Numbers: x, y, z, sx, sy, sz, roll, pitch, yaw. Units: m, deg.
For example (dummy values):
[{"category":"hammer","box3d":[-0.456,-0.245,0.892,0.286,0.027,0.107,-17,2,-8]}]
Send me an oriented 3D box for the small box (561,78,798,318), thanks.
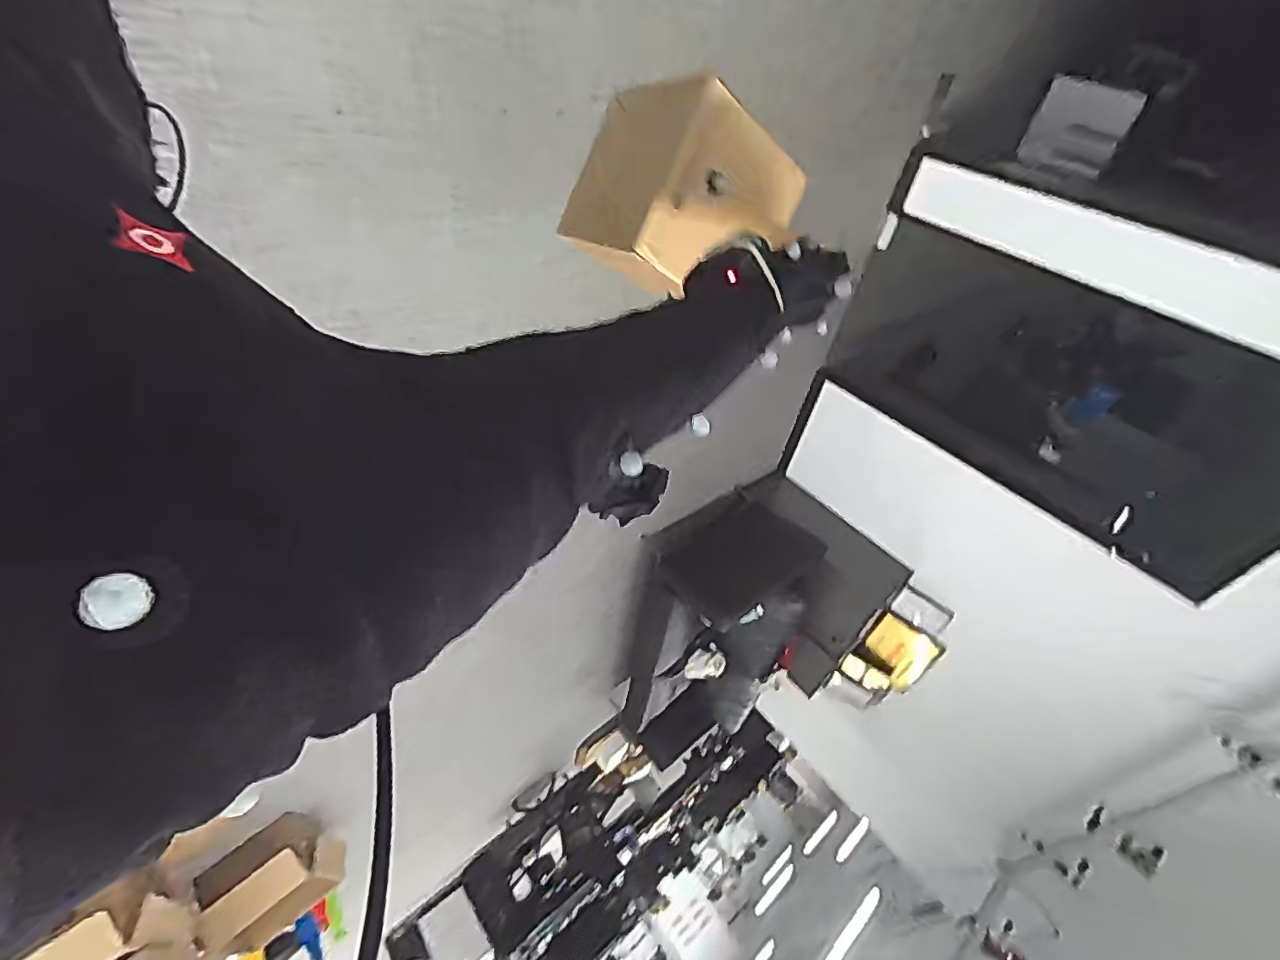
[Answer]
[{"category":"small box","box3d":[0.032,-0.307,0.603,0.176,0.179,0.168,15,107,-39]}]
